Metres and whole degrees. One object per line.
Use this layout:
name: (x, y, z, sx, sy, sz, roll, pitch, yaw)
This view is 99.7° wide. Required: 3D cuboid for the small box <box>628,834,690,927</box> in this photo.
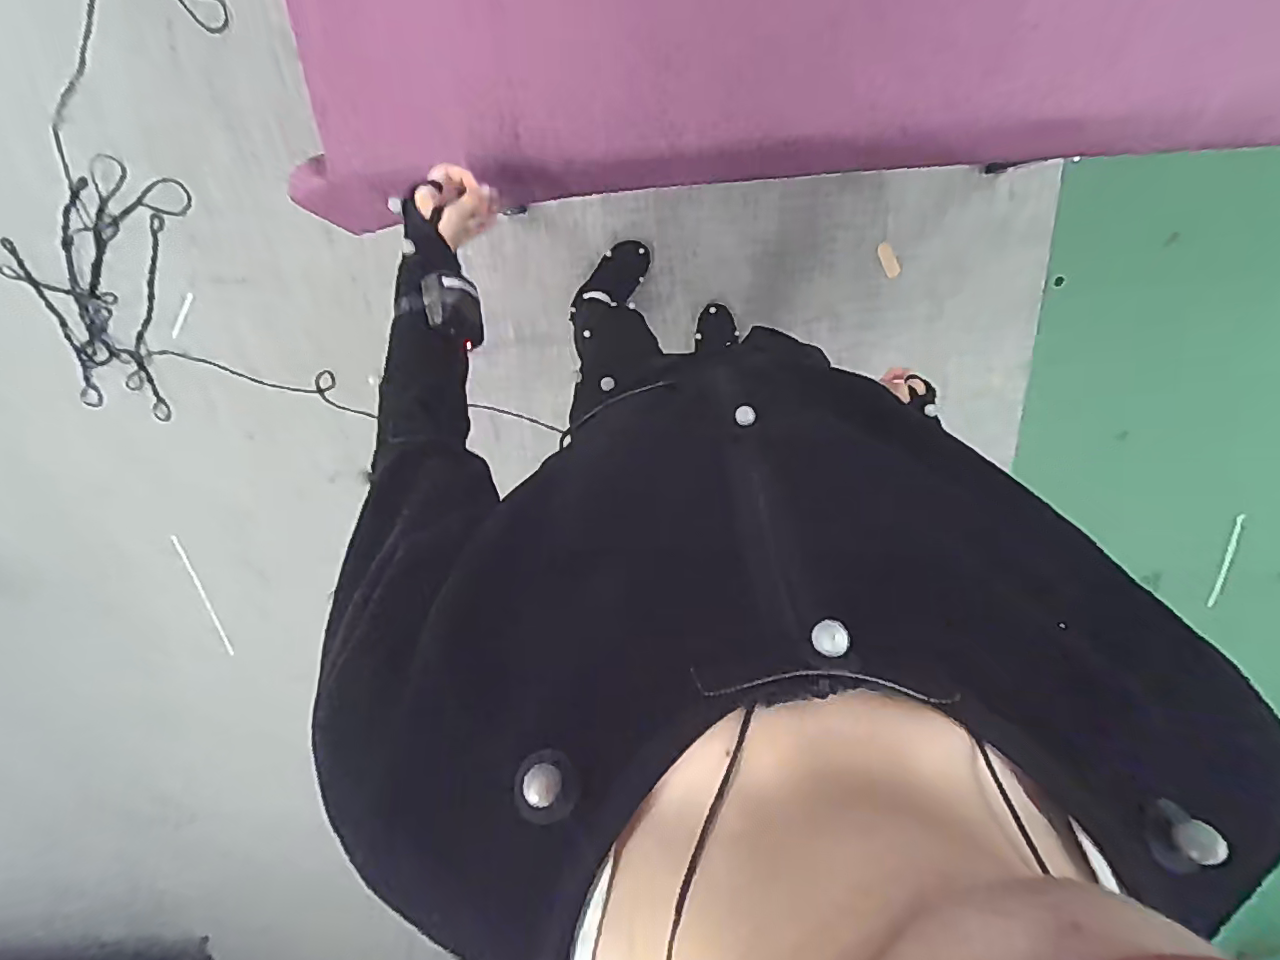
small box: (0.065, 1.328, 1.798, 0.168, 0.176, 0.179, 14, 112, -3)
